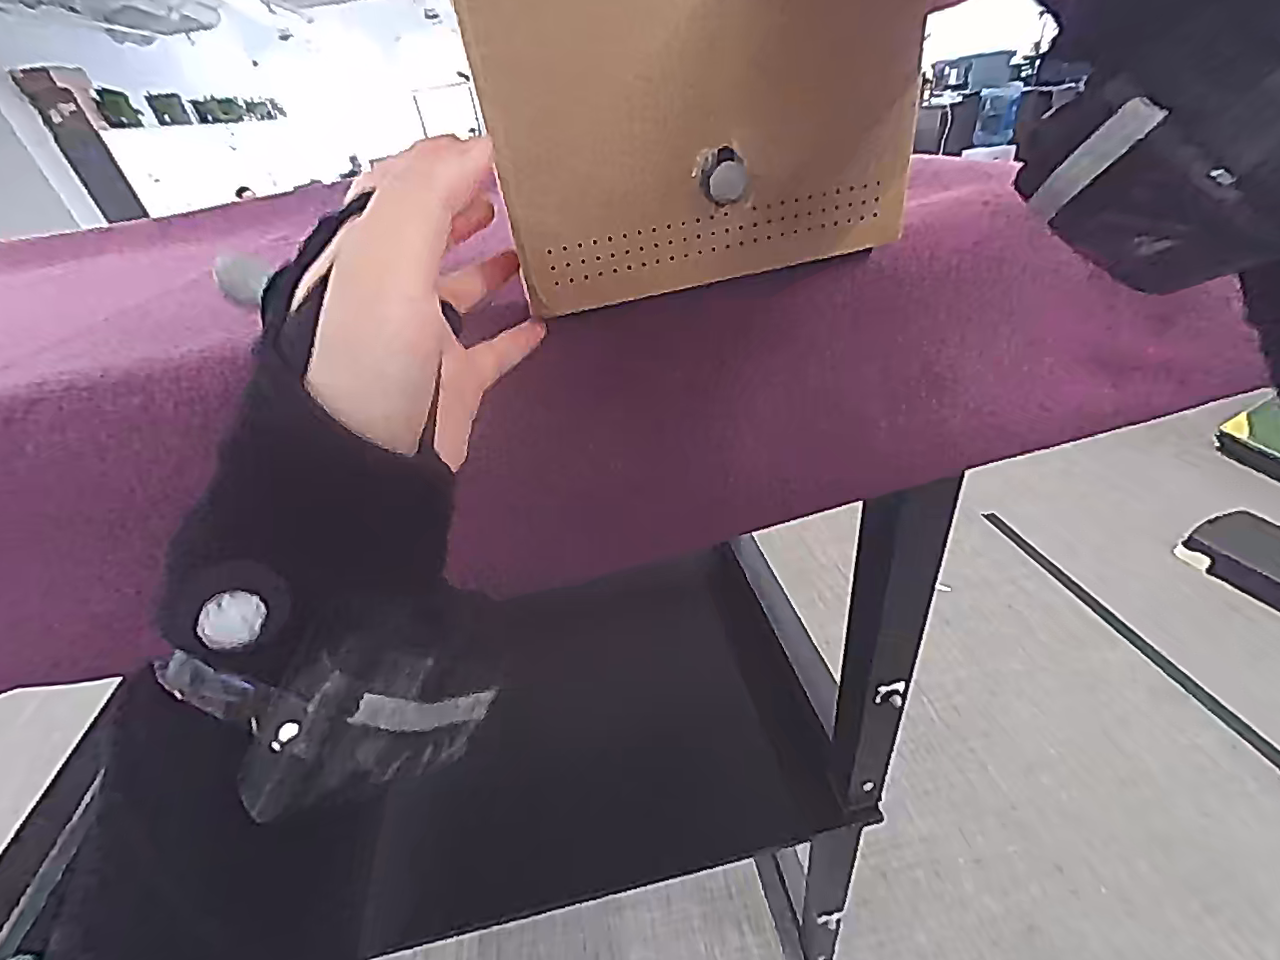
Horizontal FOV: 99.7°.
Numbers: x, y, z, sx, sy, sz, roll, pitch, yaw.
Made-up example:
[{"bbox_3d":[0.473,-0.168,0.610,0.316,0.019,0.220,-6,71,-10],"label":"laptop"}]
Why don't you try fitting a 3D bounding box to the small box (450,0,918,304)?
[{"bbox_3d":[0.008,-0.201,0.258,0.179,0.176,0.168,-15,35,-7],"label":"small box"}]
